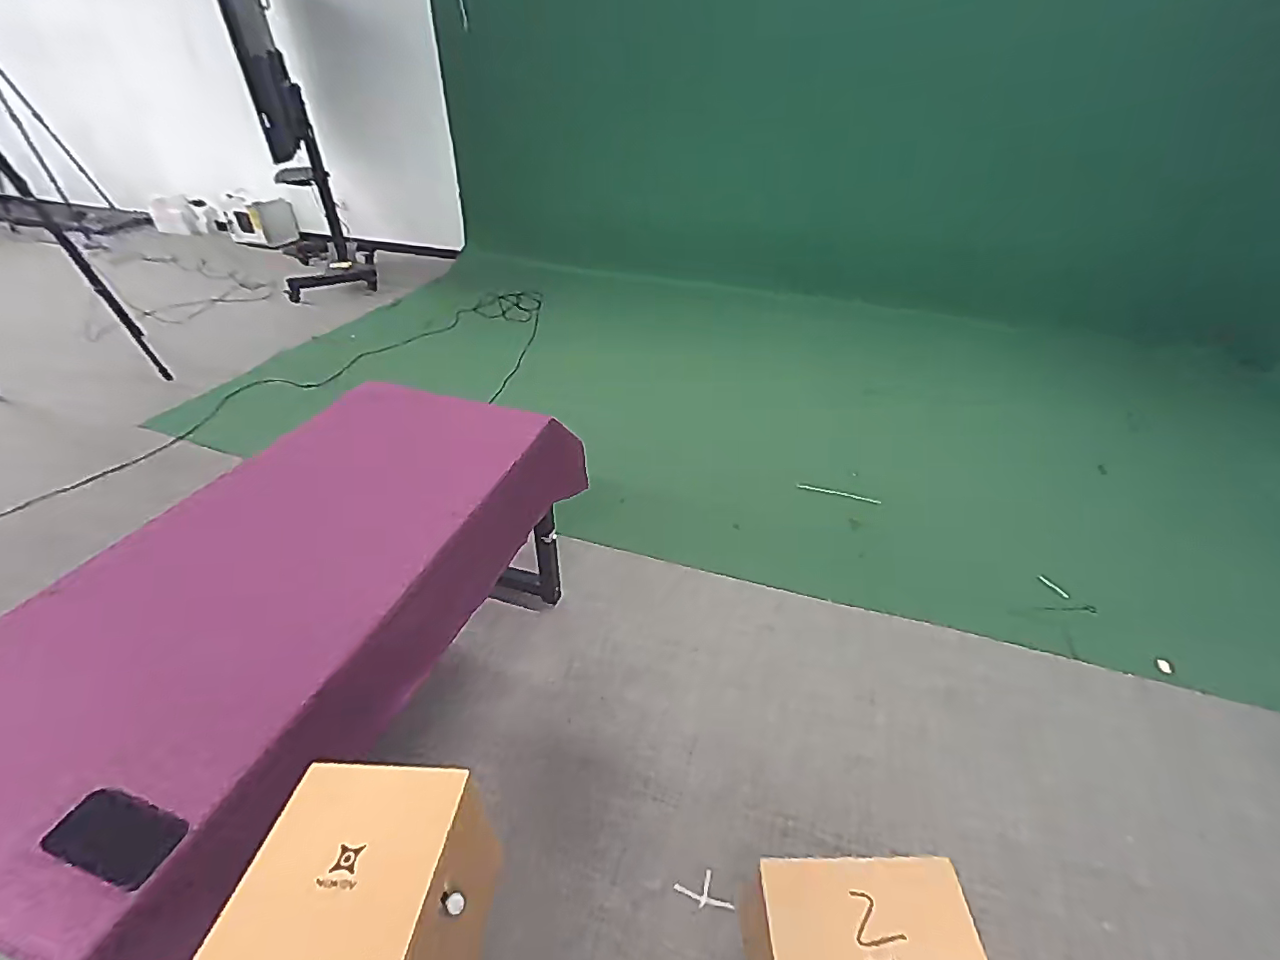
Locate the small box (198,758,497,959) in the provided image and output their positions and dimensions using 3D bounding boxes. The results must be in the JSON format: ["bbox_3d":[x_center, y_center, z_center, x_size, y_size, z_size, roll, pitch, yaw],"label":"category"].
[{"bbox_3d":[-0.243,0.393,0.505,0.168,0.176,0.179,0,33,5],"label":"small box"}]
